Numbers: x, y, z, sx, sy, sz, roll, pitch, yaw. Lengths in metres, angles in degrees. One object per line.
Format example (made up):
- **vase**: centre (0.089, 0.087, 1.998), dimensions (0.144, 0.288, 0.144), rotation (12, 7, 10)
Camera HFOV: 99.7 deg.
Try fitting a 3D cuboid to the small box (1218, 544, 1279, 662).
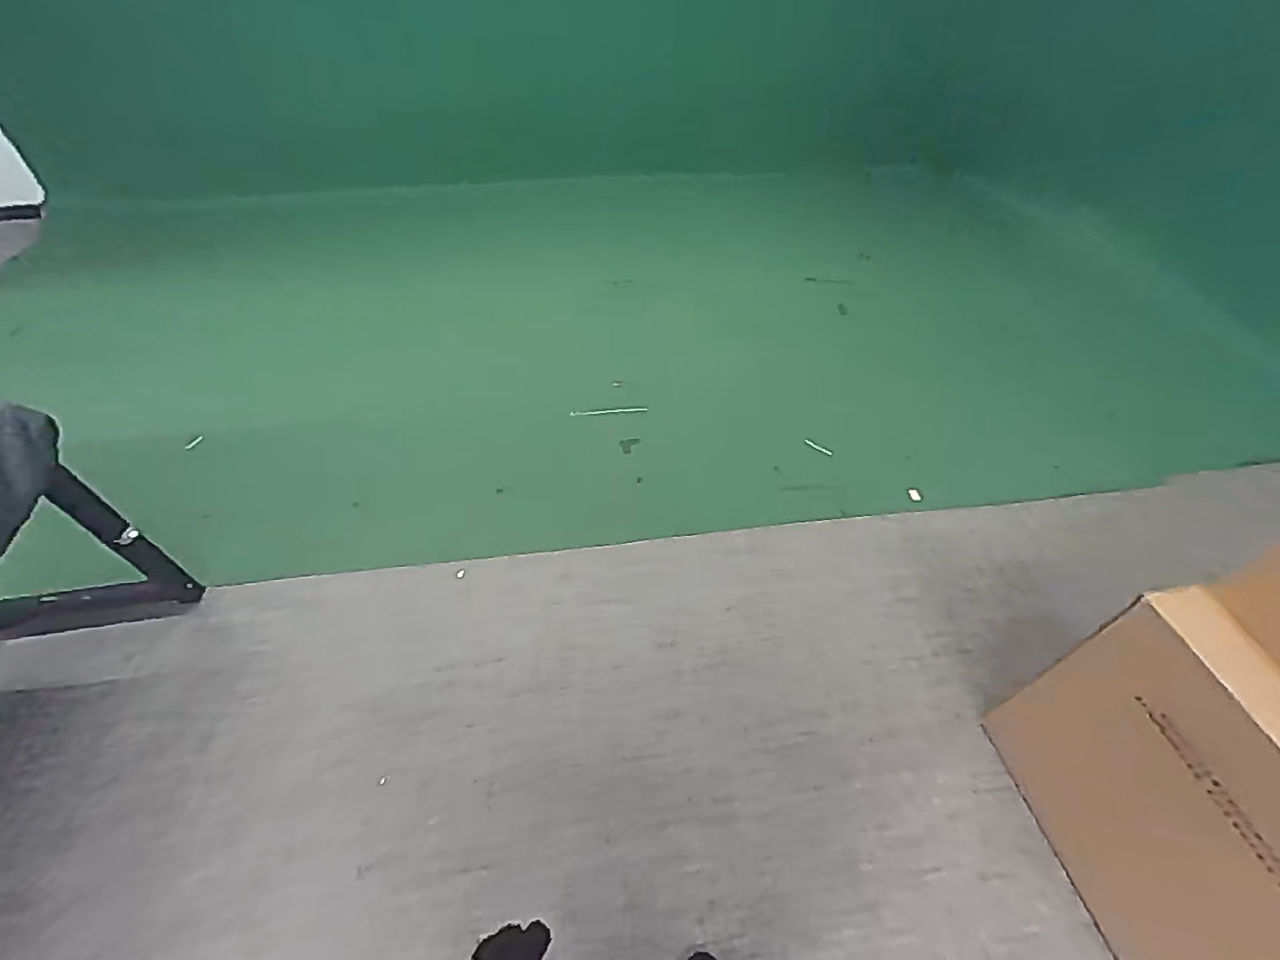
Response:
- **small box**: centre (1.053, 0.183, 0.805), dimensions (0.168, 0.176, 0.179), rotation (-7, 49, -2)
